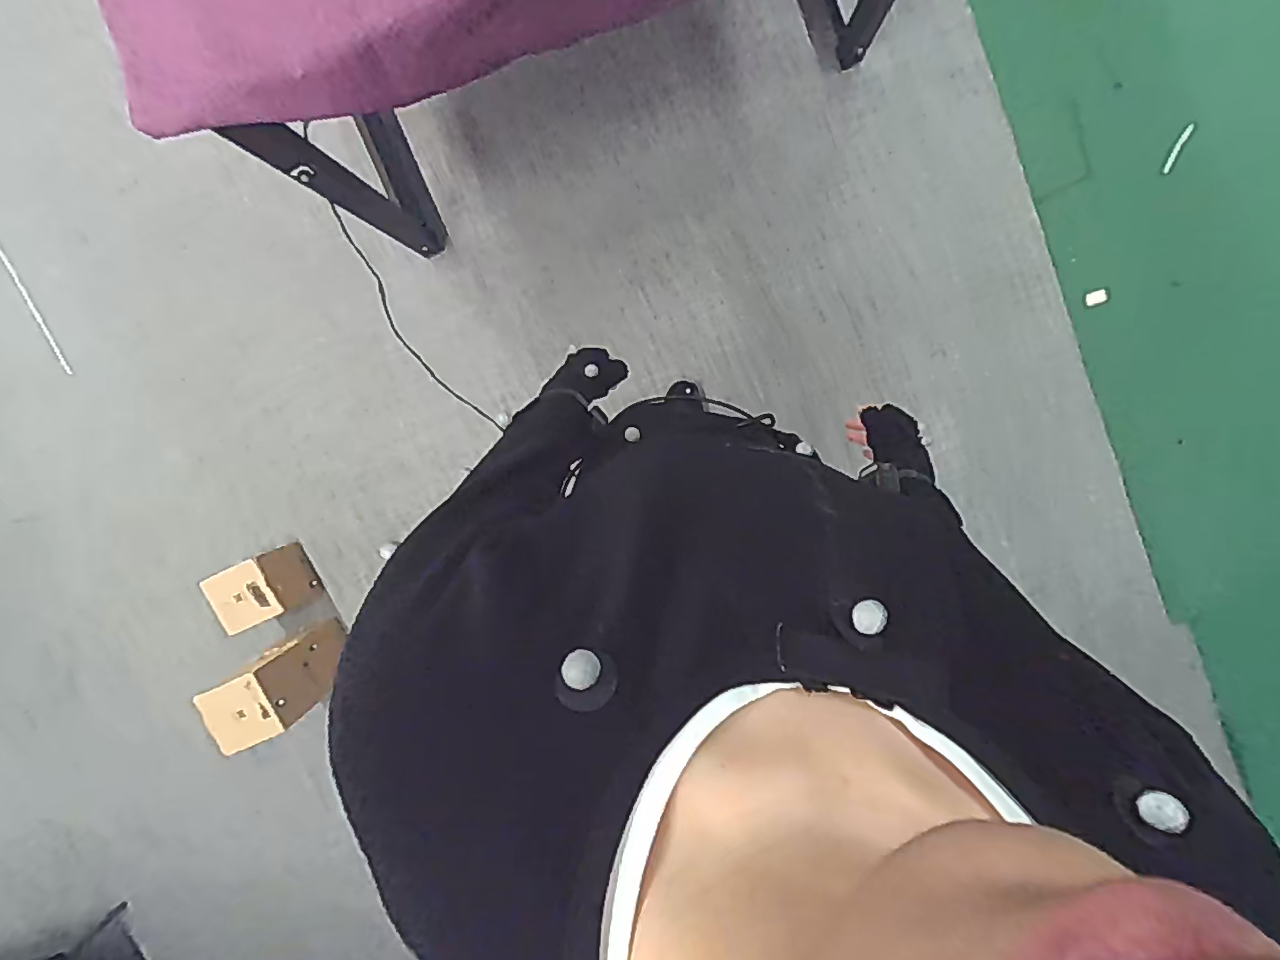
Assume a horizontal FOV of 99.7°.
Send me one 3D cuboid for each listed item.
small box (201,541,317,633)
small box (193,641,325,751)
[{"bbox_3d":[-1.028,0.285,1.483,0.179,0.176,0.168,-24,96,7],"label":"small box"},{"bbox_3d":[-0.940,0.532,1.349,0.179,0.176,0.168,-23,96,7],"label":"small box"}]
